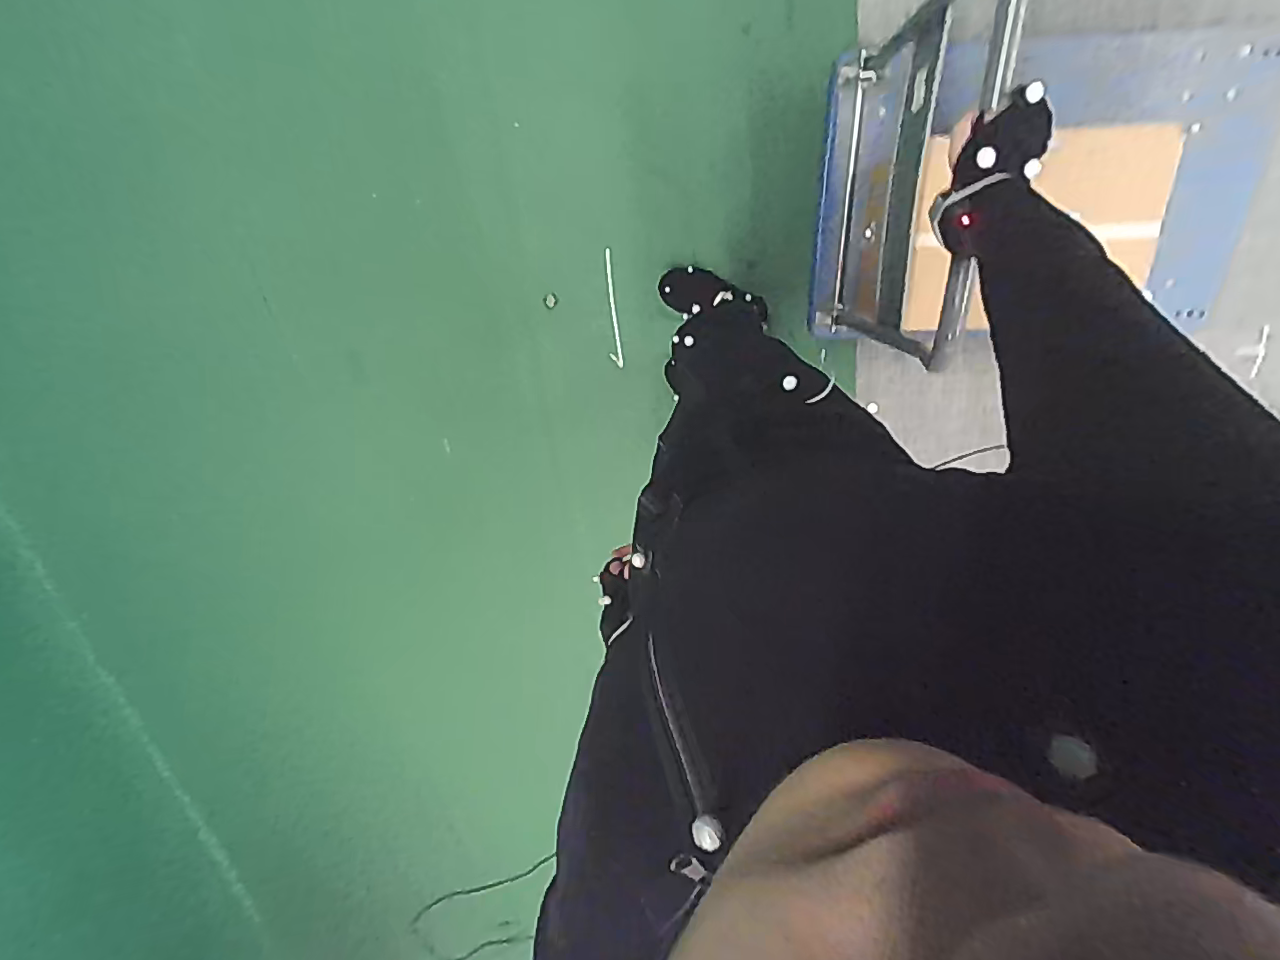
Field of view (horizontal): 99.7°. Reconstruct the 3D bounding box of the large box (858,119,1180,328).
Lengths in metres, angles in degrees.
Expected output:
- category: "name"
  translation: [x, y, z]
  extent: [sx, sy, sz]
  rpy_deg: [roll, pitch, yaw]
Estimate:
- category: "large box"
  translation: [0.690, -0.485, 1.076]
  extent: [0.408, 0.320, 0.320]
  rpy_deg: [0, 112, 6]
